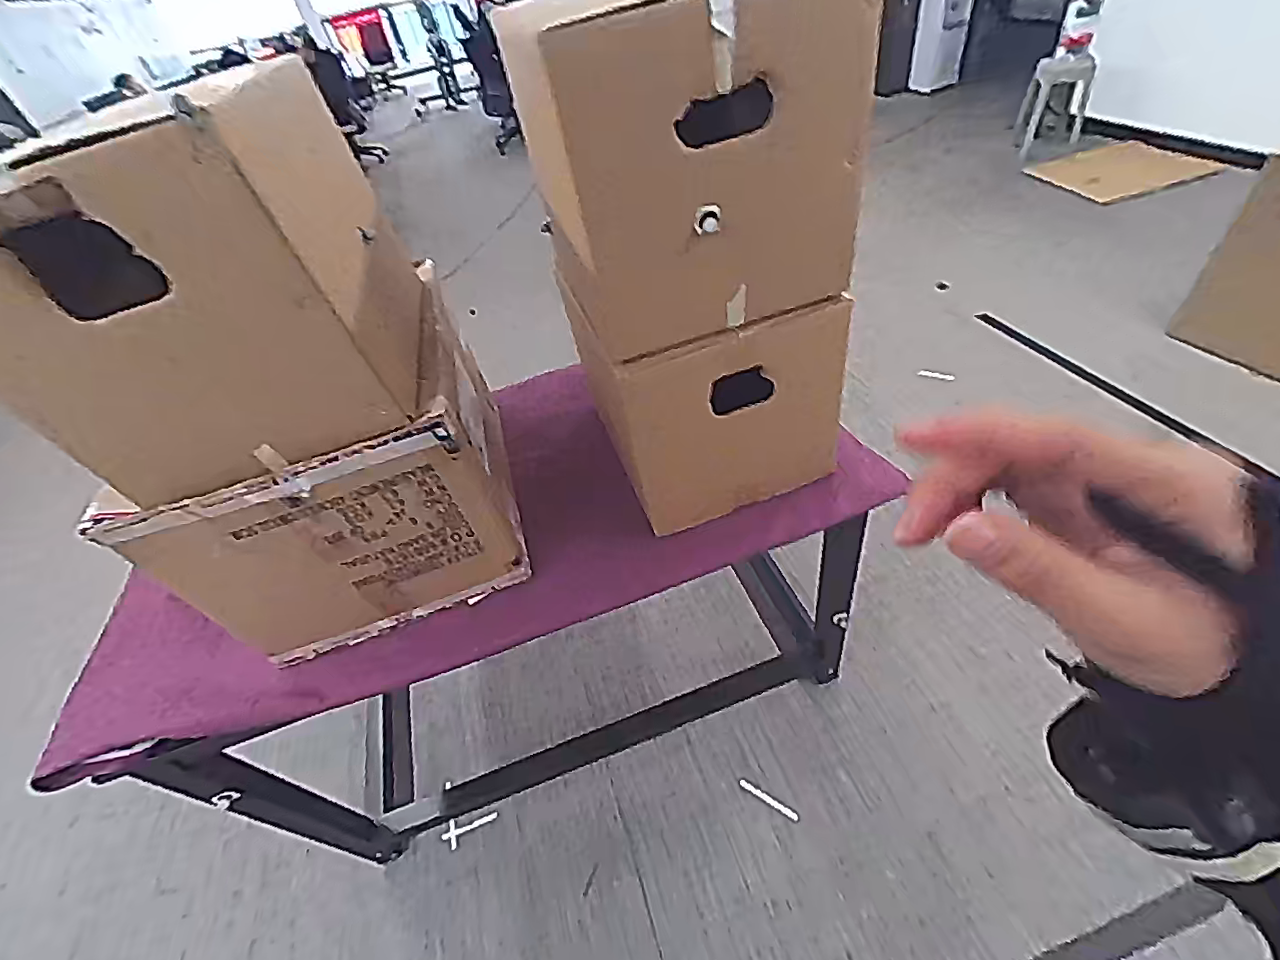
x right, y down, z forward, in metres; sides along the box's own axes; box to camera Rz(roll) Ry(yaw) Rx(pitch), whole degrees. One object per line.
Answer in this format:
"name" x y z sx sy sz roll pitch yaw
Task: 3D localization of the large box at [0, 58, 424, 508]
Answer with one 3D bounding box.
"large box" -0.473 -0.245 0.635 0.320 0.320 0.408 -21 46 -2
